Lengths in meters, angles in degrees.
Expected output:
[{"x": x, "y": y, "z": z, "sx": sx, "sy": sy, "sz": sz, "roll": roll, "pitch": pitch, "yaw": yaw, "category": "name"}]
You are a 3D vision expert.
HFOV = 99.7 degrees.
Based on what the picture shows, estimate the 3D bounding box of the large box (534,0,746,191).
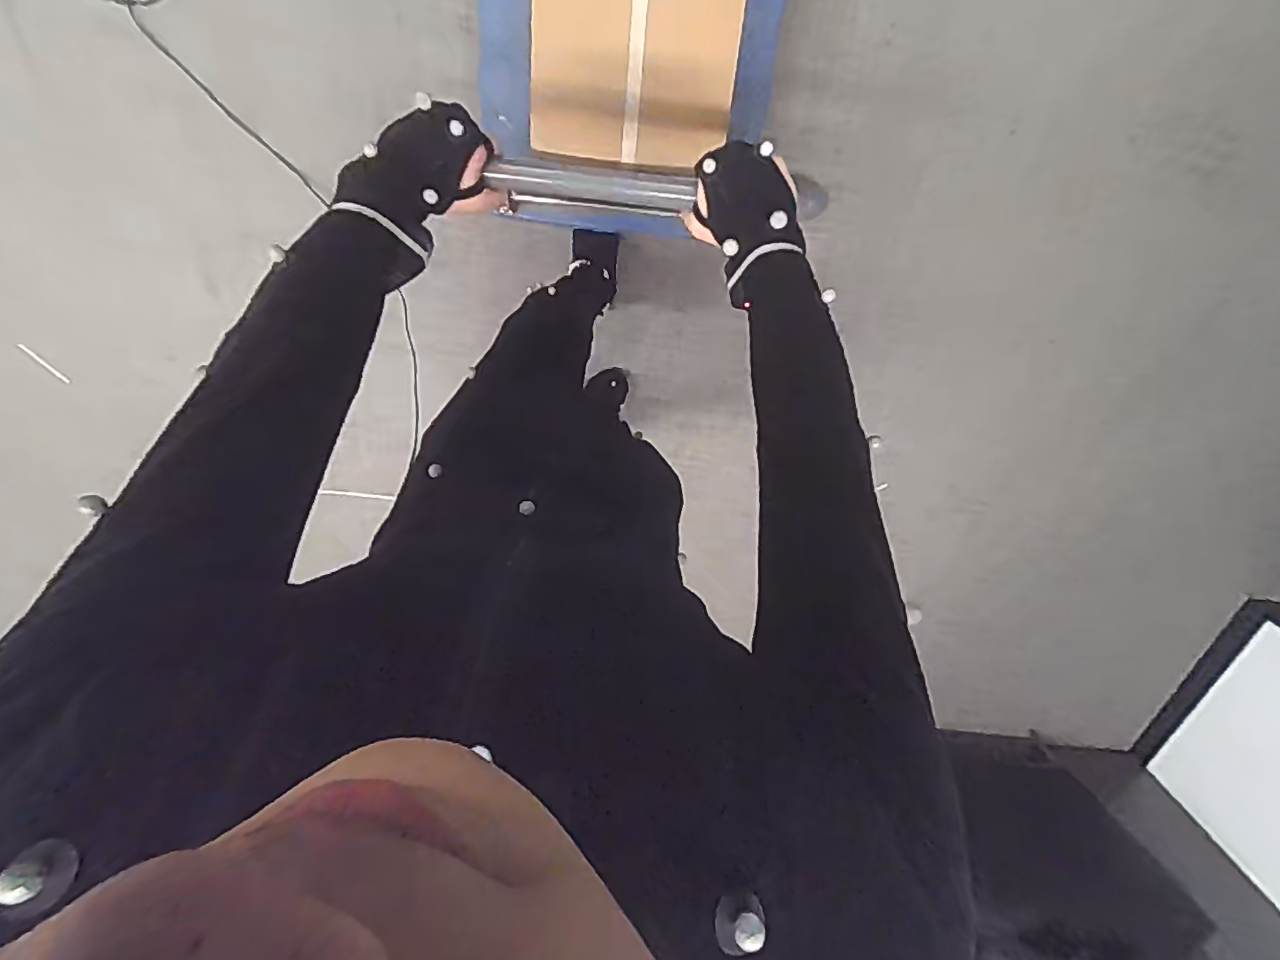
[{"x": -0.002, "y": -0.746, "z": 0.938, "sx": 0.320, "sy": 0.320, "sz": 0.408, "roll": 5, "pitch": 115, "yaw": -4, "category": "large box"}]
